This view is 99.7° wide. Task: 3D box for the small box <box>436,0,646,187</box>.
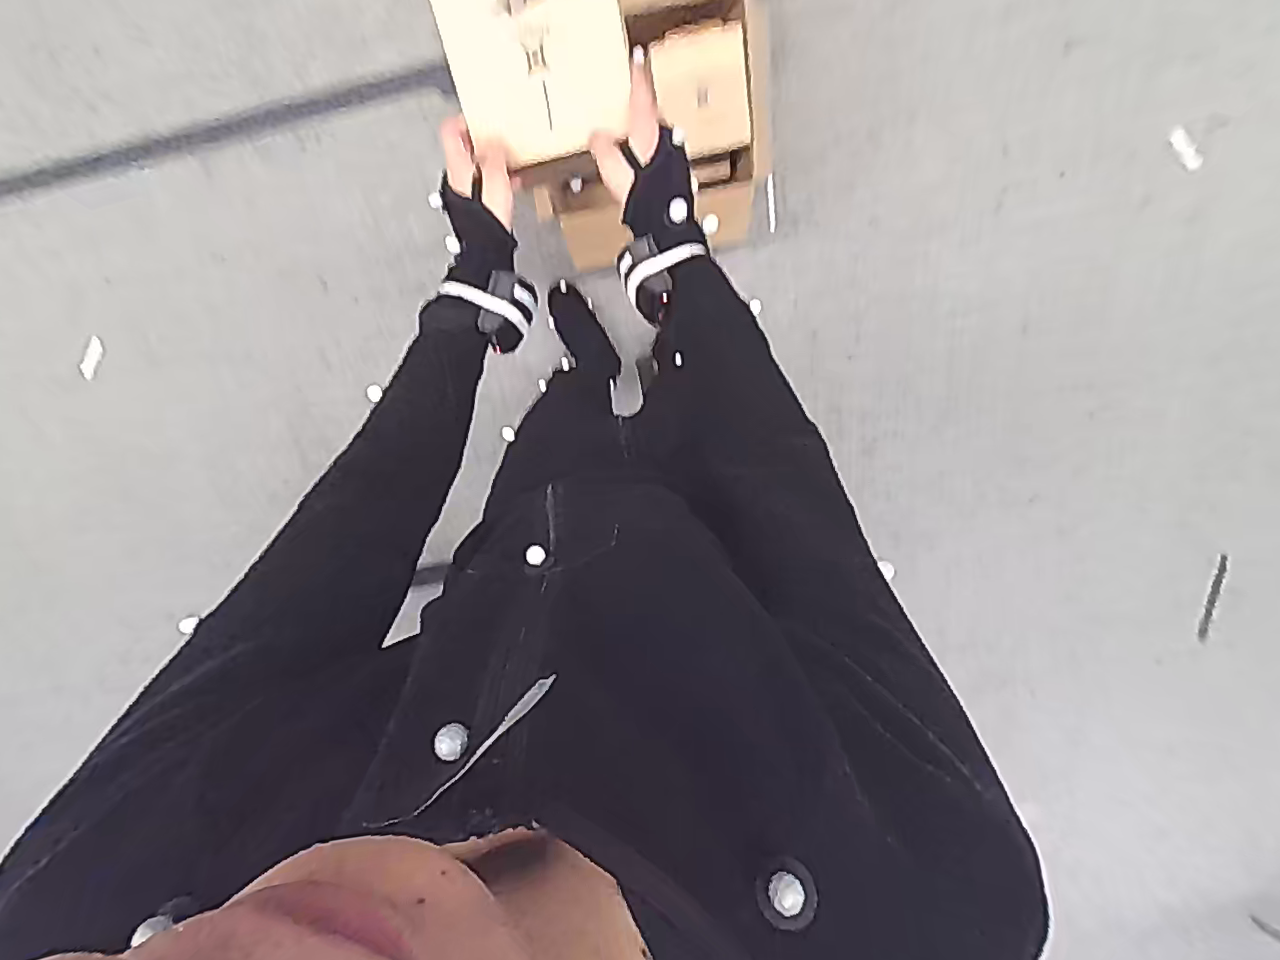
[{"bbox_3d":[-0.091,-0.429,0.568,0.168,0.176,0.179,-10,113,8],"label":"small box"}]
